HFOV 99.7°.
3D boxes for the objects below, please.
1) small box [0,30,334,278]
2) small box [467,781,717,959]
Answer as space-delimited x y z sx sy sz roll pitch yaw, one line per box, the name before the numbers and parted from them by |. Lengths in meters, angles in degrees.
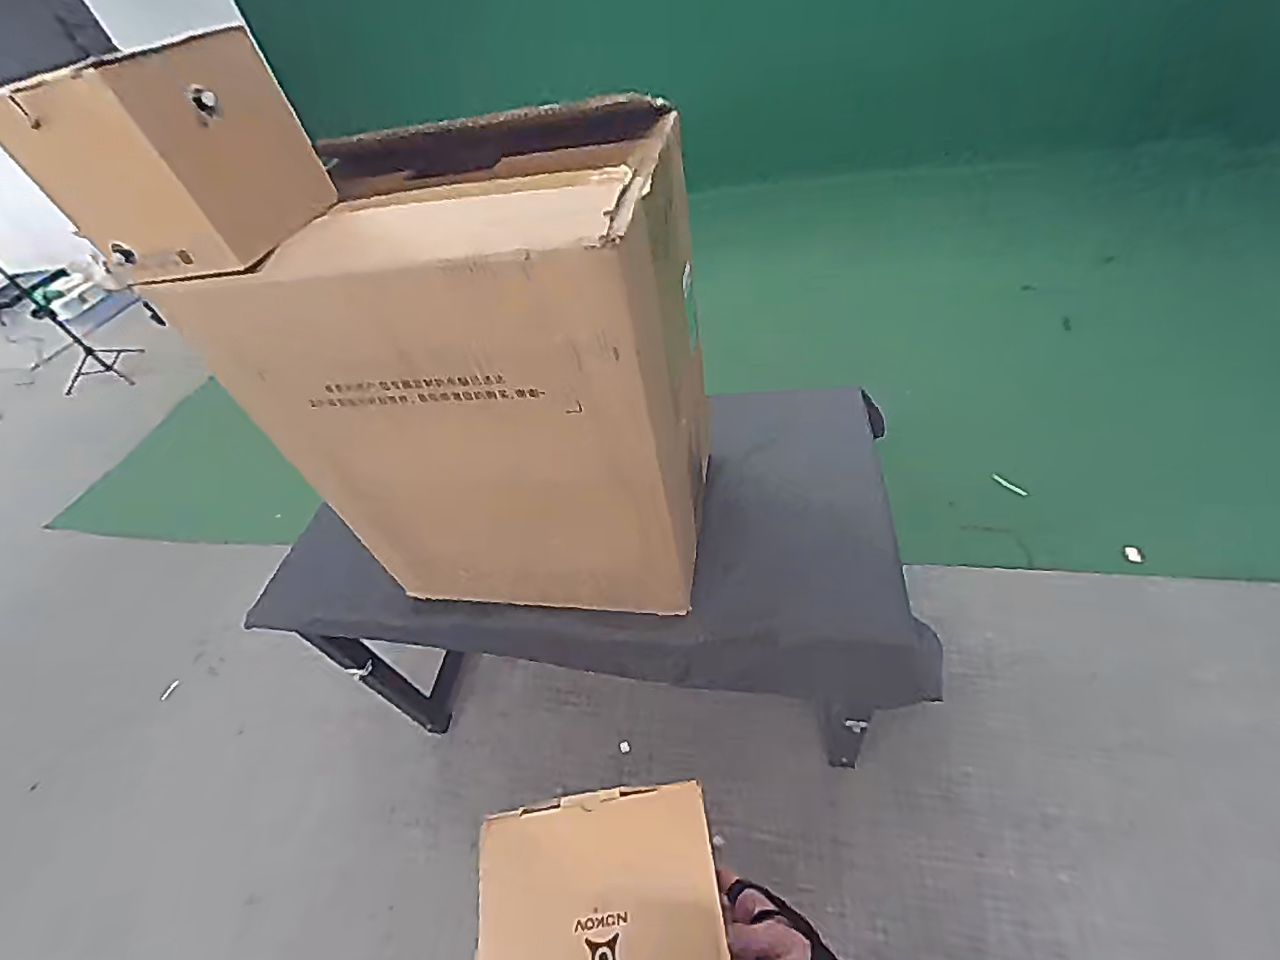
small box | -0.462 -0.322 0.555 0.168 0.176 0.179 1 47 16
small box | -0.029 0.349 0.425 0.168 0.176 0.179 -8 59 -1
